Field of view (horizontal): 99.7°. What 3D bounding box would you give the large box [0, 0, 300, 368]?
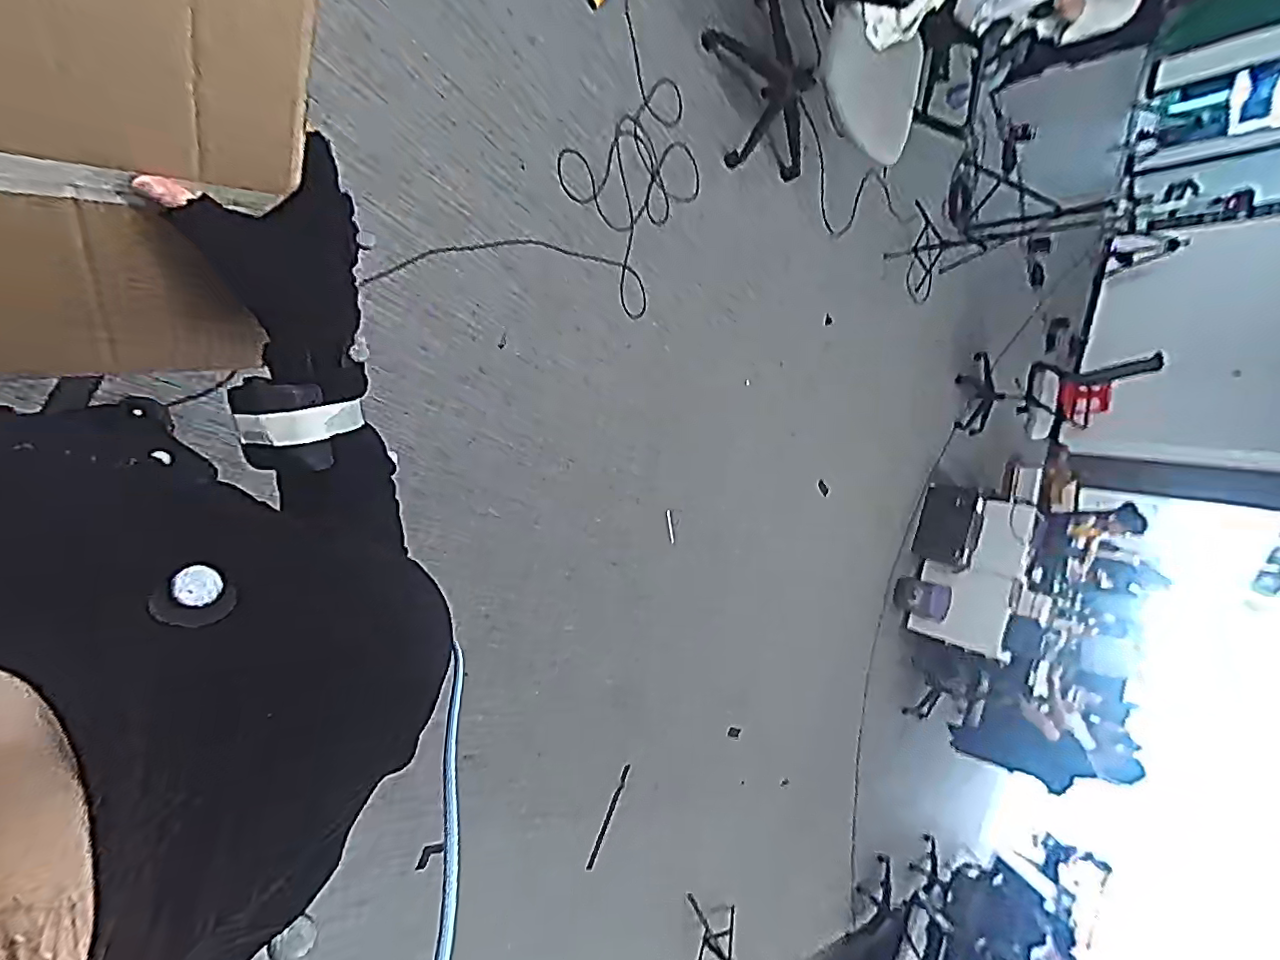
[{"bbox_3d":[-0.435,-0.261,0.242,0.408,0.320,0.320,-17,73,-42],"label":"large box"}]
